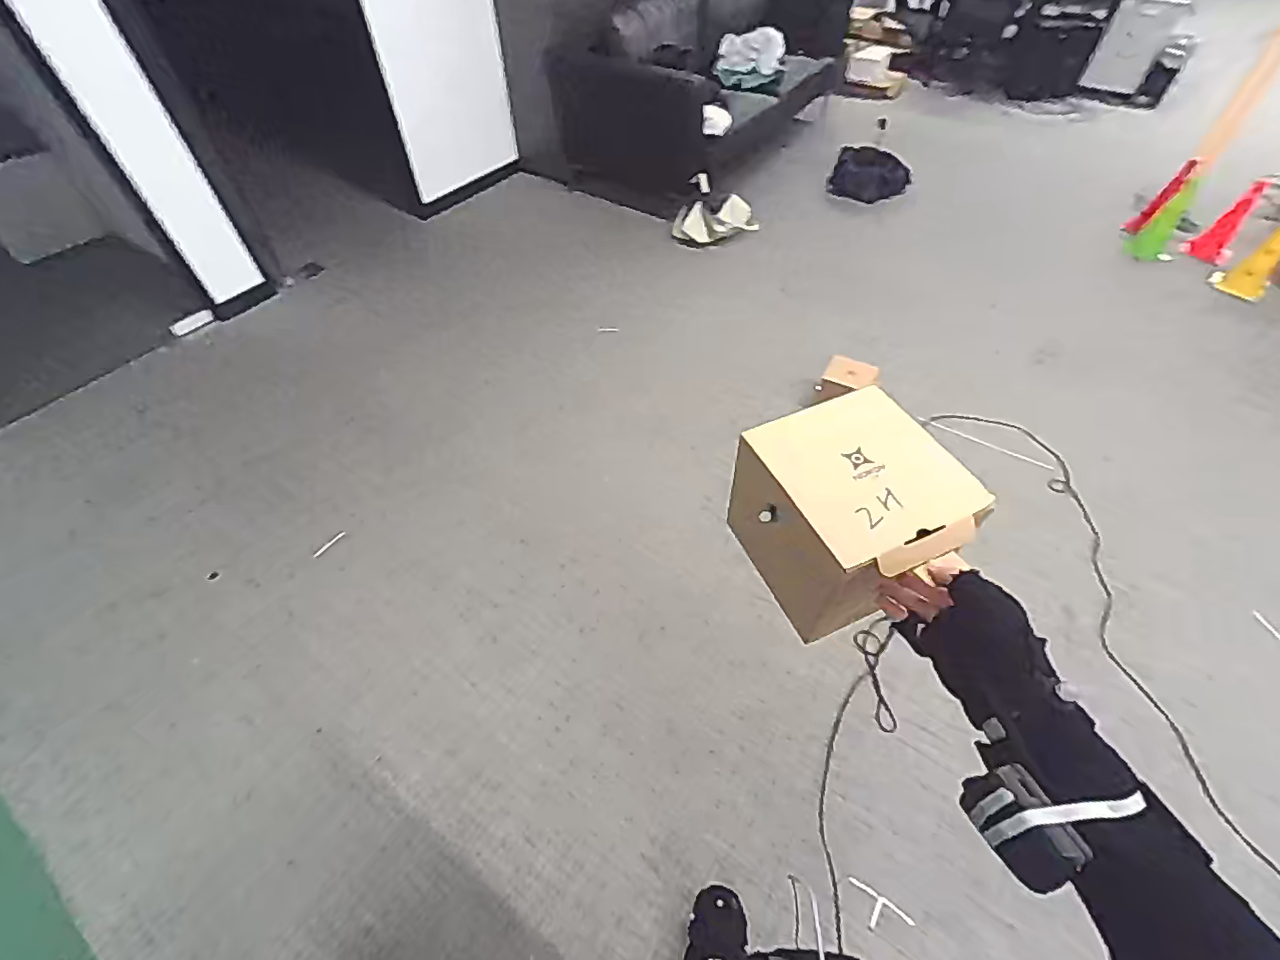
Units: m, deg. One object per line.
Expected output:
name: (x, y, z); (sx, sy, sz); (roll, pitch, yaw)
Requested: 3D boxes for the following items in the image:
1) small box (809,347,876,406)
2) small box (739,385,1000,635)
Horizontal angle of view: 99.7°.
small box: (0.762, -0.369, 2.043); (0.179, 0.176, 0.168); (23, 55, 18)
small box: (0.220, 0.034, 0.578); (0.168, 0.176, 0.179); (-20, 54, -11)
